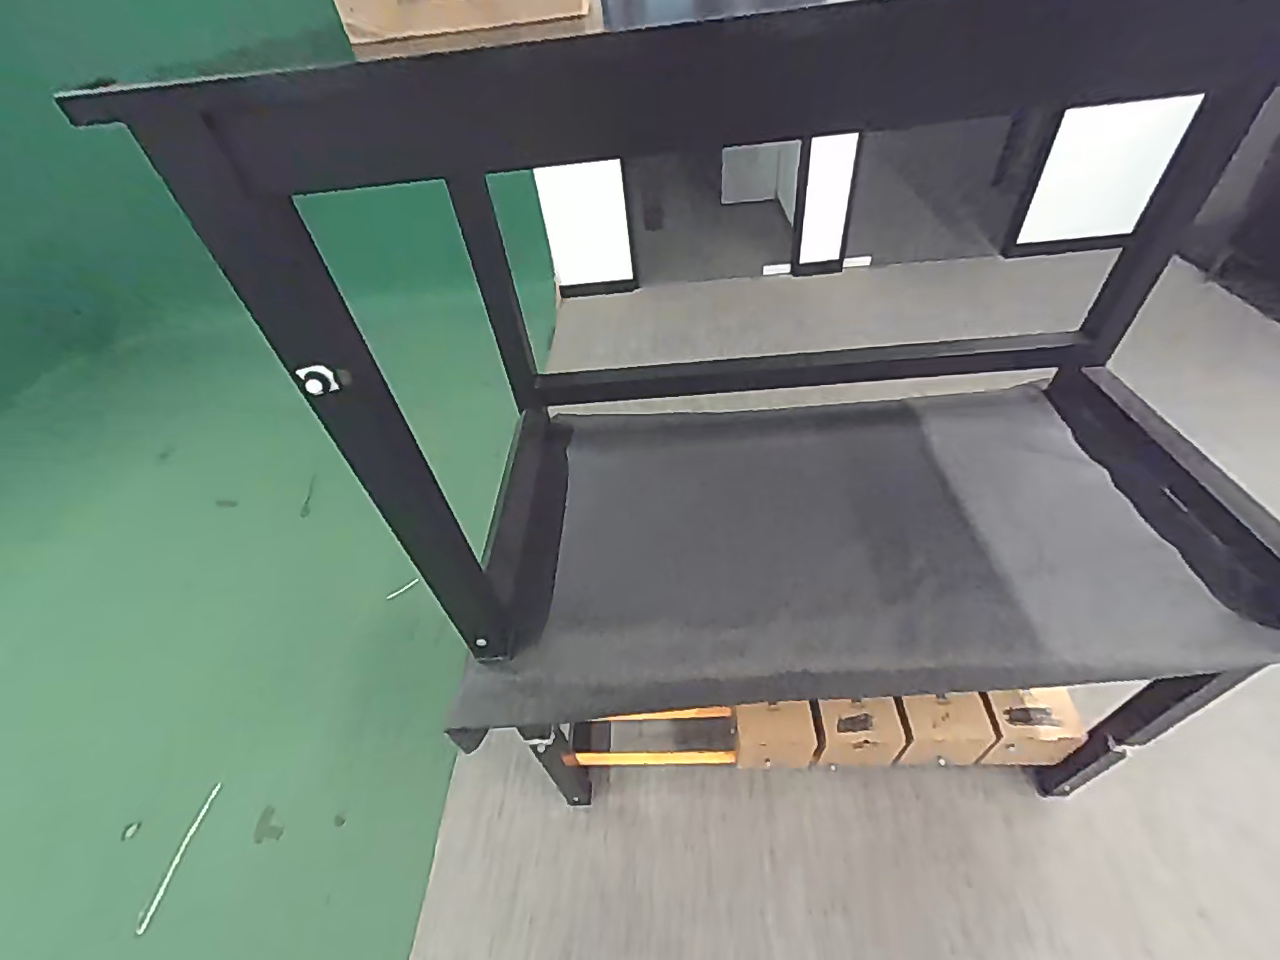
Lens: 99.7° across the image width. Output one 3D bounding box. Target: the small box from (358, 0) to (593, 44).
[{"bbox_3d":[-0.127,-0.428,0.381,0.168,0.176,0.179,-7,45,2],"label":"small box"}]
